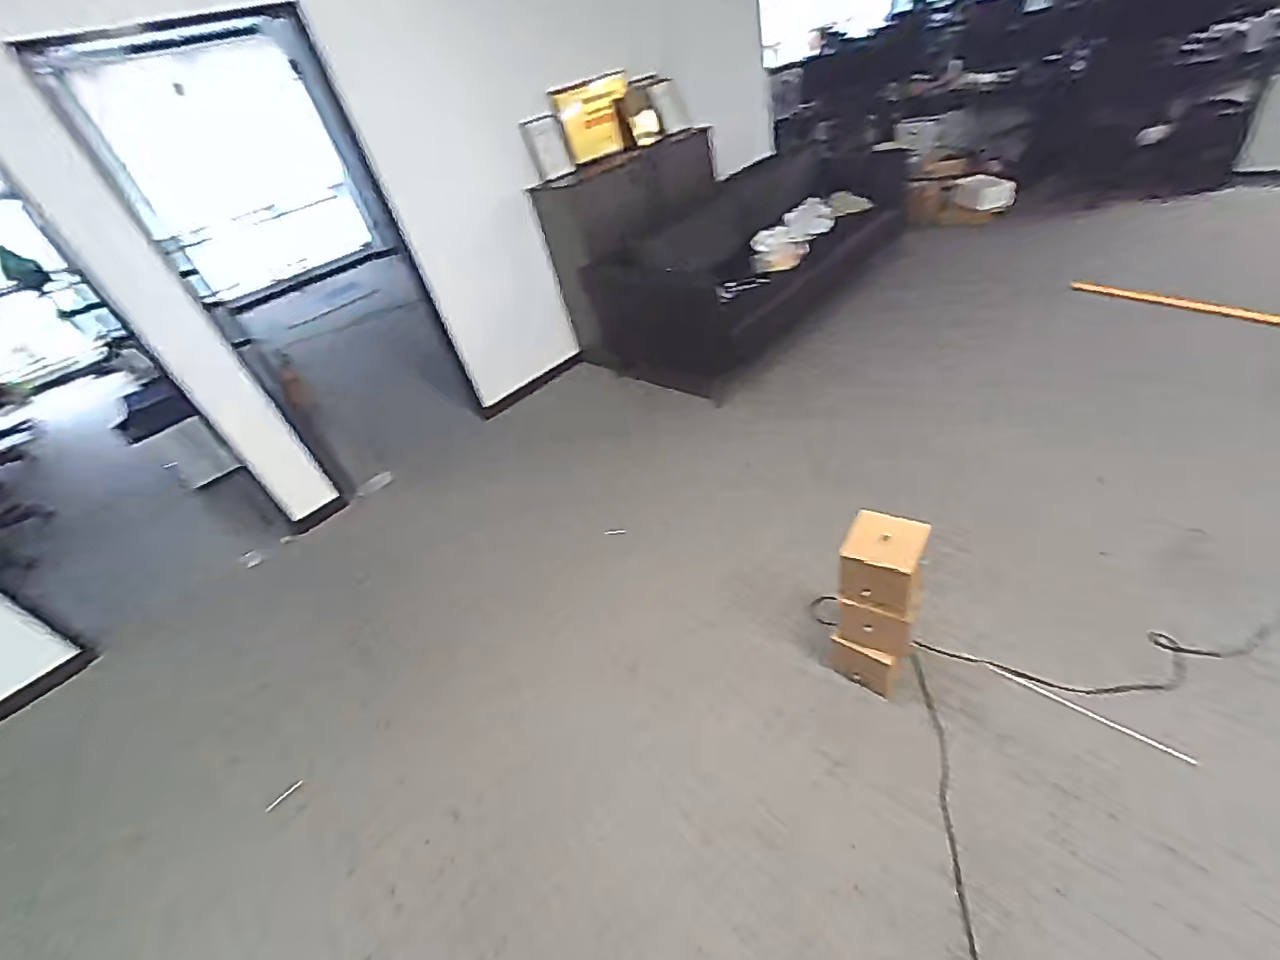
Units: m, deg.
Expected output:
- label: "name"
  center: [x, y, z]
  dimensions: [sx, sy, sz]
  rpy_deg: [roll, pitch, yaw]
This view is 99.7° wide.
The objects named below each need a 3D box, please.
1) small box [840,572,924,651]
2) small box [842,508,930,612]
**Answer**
- label: "small box"
  center: [0.659, 0.337, 1.470]
  dimensions: [0.179, 0.176, 0.168]
  rpy_deg: [10, 44, 33]
- label: "small box"
  center: [0.626, 0.203, 1.382]
  dimensions: [0.168, 0.176, 0.179]
  rpy_deg: [13, 47, 35]
